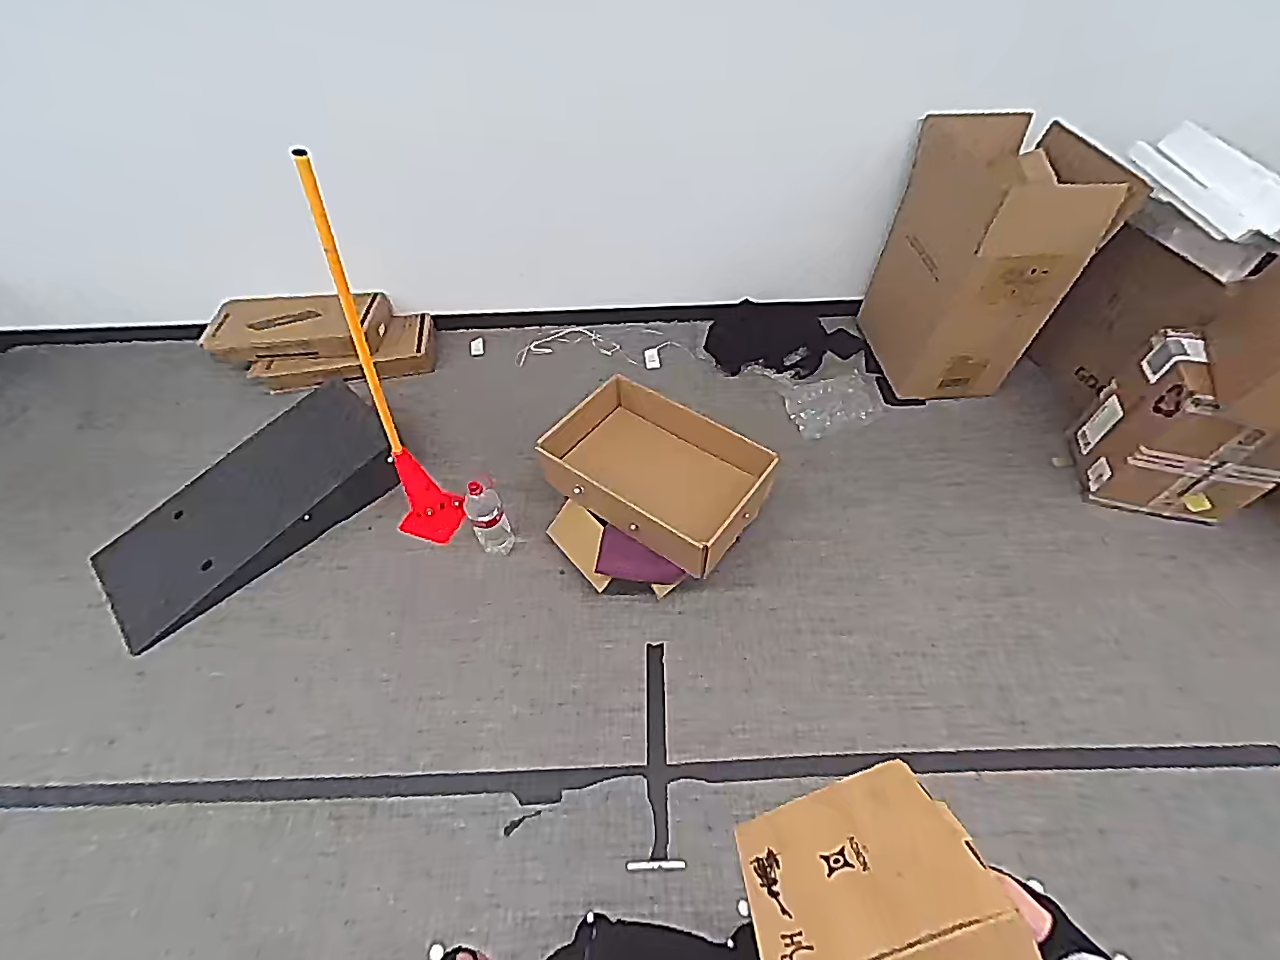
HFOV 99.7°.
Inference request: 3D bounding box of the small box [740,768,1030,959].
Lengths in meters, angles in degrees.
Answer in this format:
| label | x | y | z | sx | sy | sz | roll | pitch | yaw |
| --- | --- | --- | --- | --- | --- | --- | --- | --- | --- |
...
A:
| label | x | y | z | sx | sy | sz | roll | pitch | yaw |
| --- | --- | --- | --- | --- | --- | --- | --- | --- | --- |
| small box | 0.205 | 0.390 | 0.449 | 0.179 | 0.168 | 0.176 | -23 | 92 | 2 |
